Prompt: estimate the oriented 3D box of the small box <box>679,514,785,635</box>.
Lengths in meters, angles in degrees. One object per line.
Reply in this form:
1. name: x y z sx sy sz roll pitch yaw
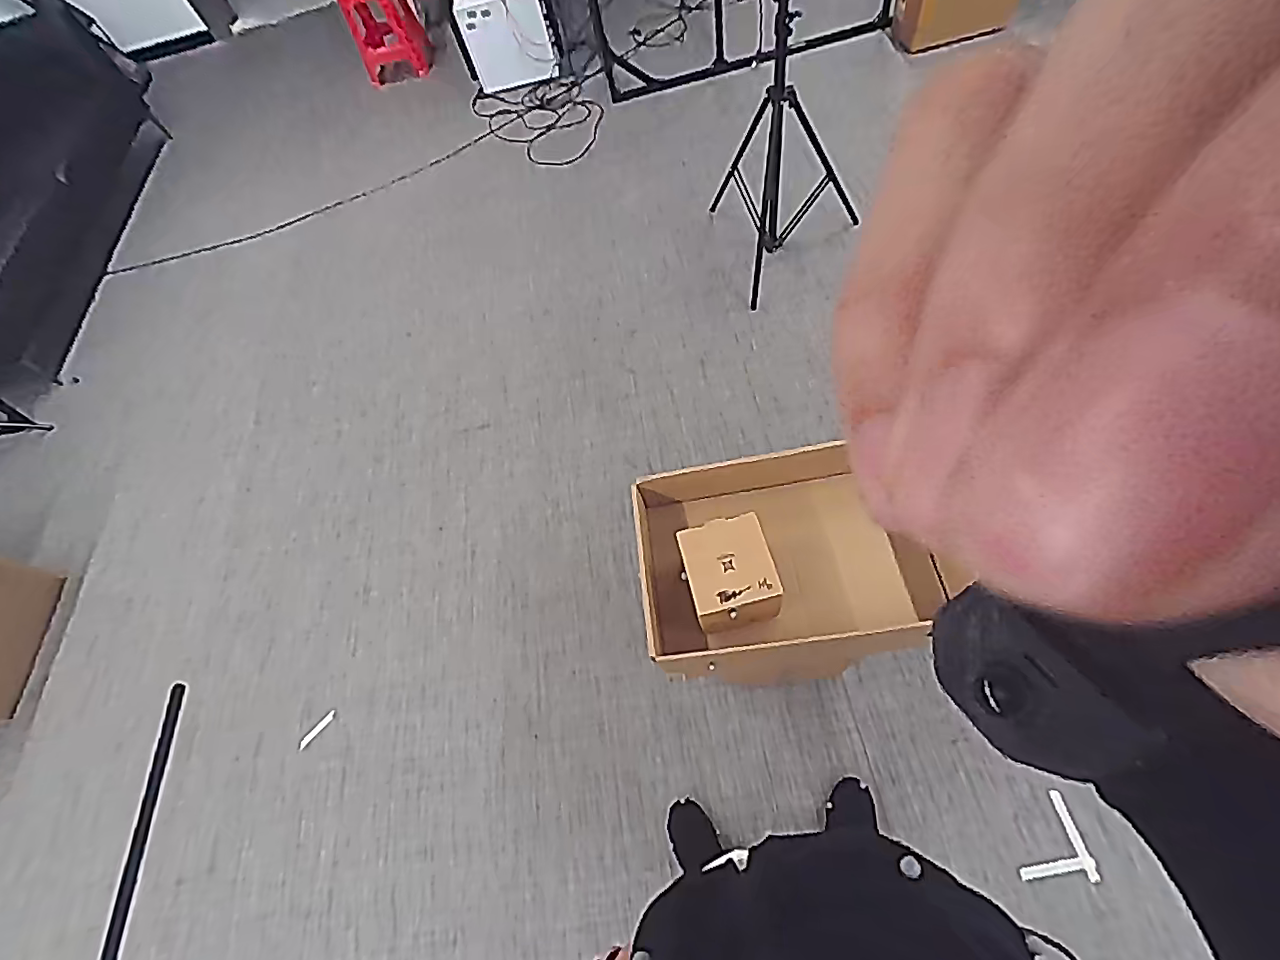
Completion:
1. small box: 0.184 0.196 1.101 0.168 0.176 0.179 -16 61 4
